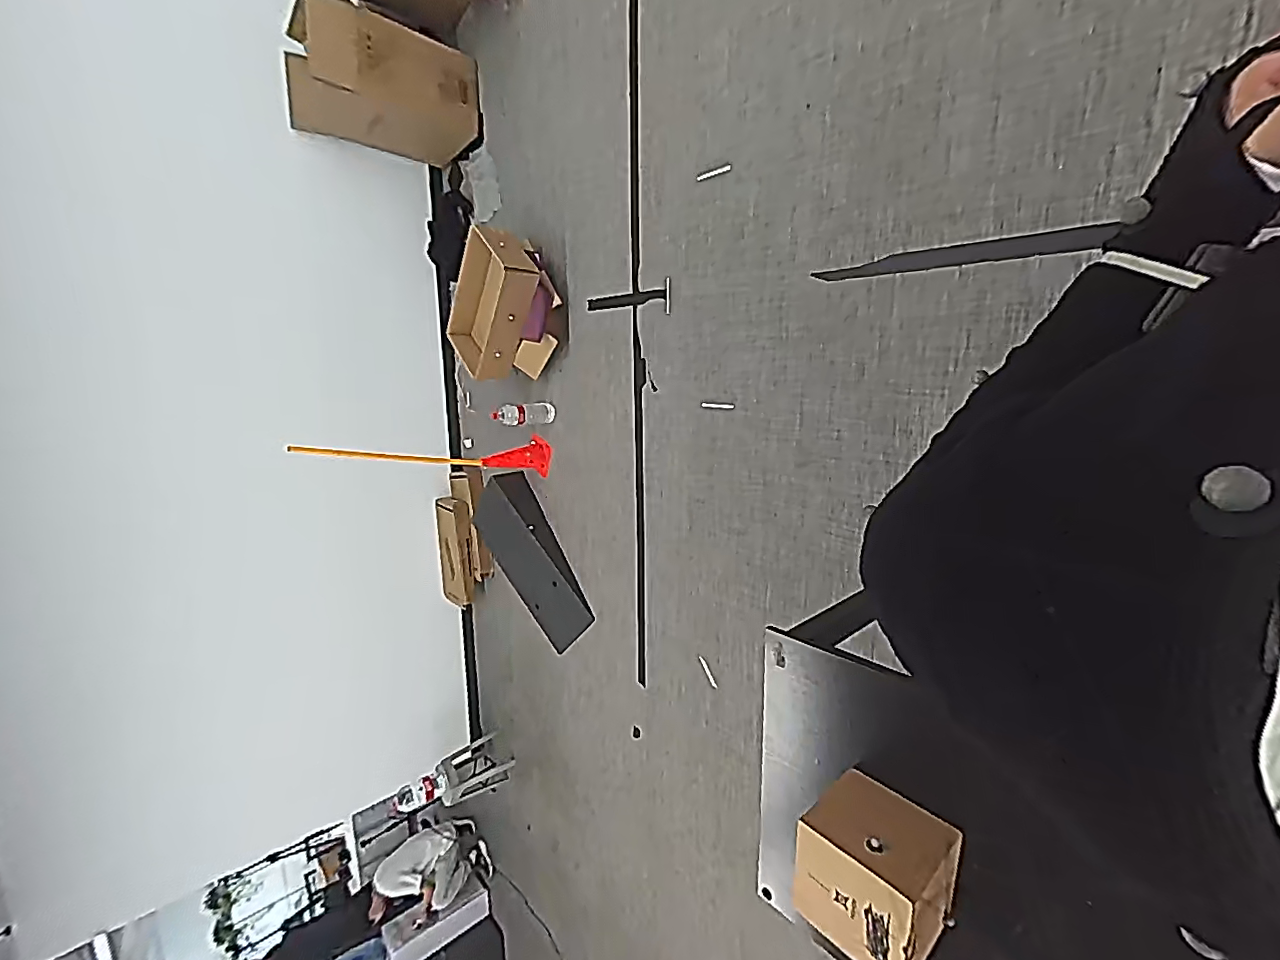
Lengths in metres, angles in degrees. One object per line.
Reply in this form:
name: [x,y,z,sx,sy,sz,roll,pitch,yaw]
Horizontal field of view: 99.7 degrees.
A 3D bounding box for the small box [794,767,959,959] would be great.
small box: [0.363,0.584,0.831,0.179,0.176,0.168,15,109,48]
